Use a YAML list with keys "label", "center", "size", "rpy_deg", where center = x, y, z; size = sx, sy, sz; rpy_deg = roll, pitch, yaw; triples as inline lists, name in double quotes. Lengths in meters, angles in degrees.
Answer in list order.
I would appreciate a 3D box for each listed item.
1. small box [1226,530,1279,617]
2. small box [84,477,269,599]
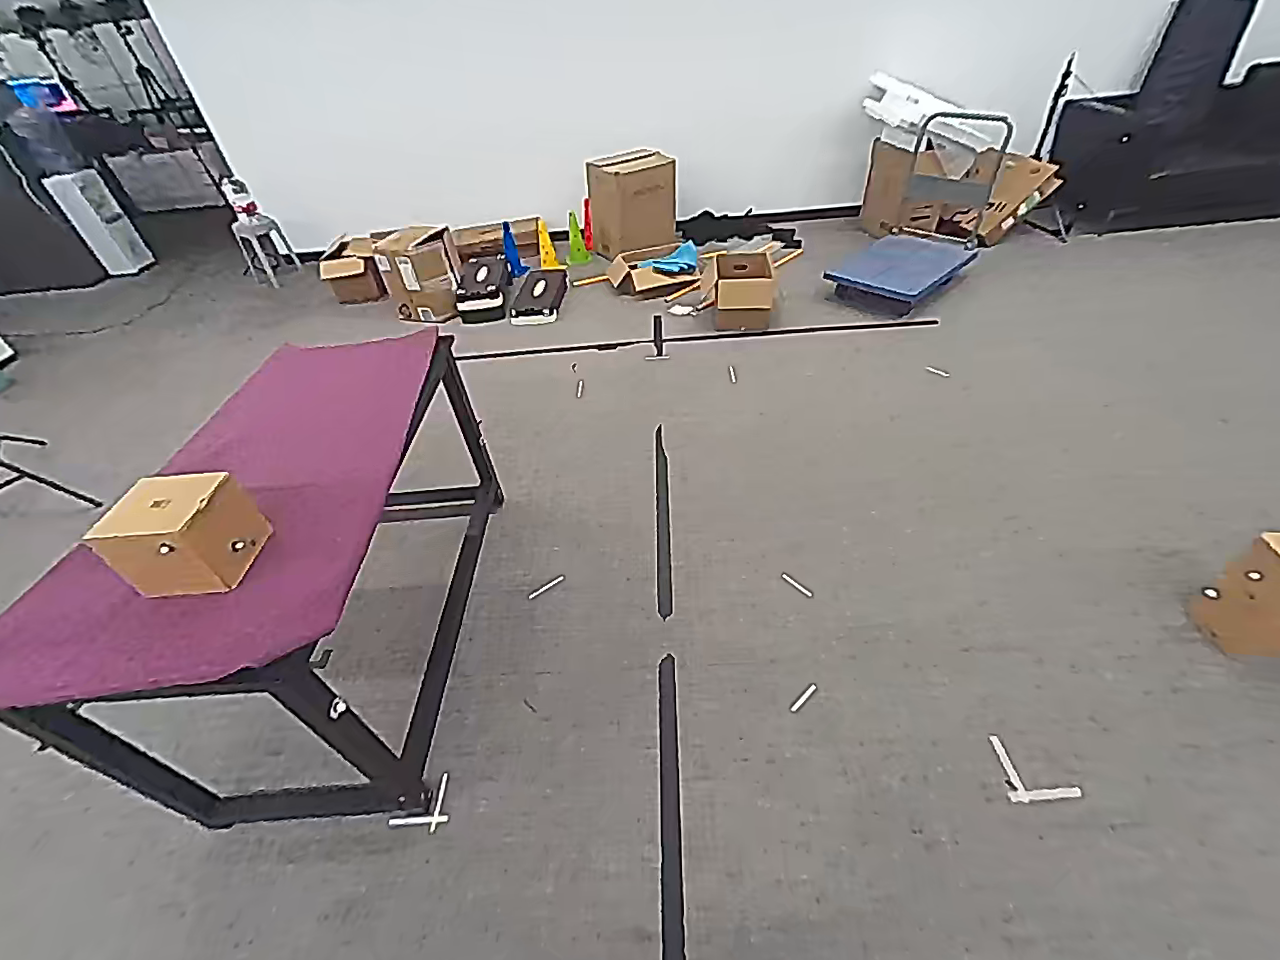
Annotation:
- label: "small box"
  center: [1.728, 0.249, 1.427]
  size: [0.179, 0.176, 0.168]
  rpy_deg: [0, 42, 5]
- label: "small box"
  center: [-0.874, 0.114, 1.043]
  size: [0.179, 0.176, 0.168]
  rpy_deg: [-5, 41, 0]
